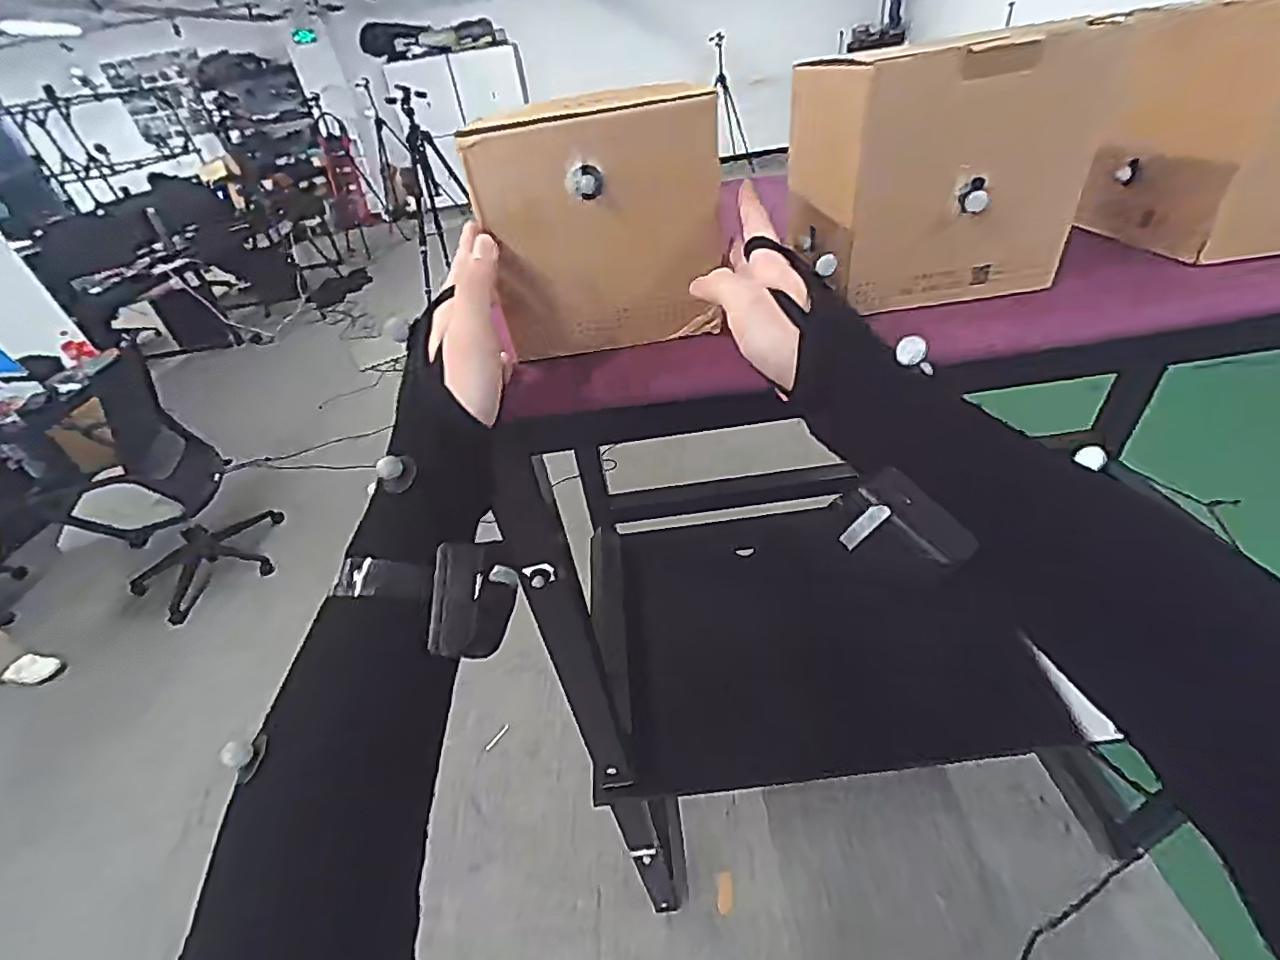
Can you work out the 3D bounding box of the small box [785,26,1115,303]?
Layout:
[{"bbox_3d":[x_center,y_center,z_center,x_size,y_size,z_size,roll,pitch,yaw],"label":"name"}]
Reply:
[{"bbox_3d":[0.226,-0.259,0.457,0.168,0.176,0.179,-7,37,1],"label":"small box"}]

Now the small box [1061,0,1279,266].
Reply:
[{"bbox_3d":[0.507,-0.295,0.447,0.179,0.176,0.168,-8,37,3],"label":"small box"}]

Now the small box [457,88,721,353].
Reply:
[{"bbox_3d":[-0.032,-0.222,0.466,0.179,0.176,0.168,-8,38,1],"label":"small box"}]
